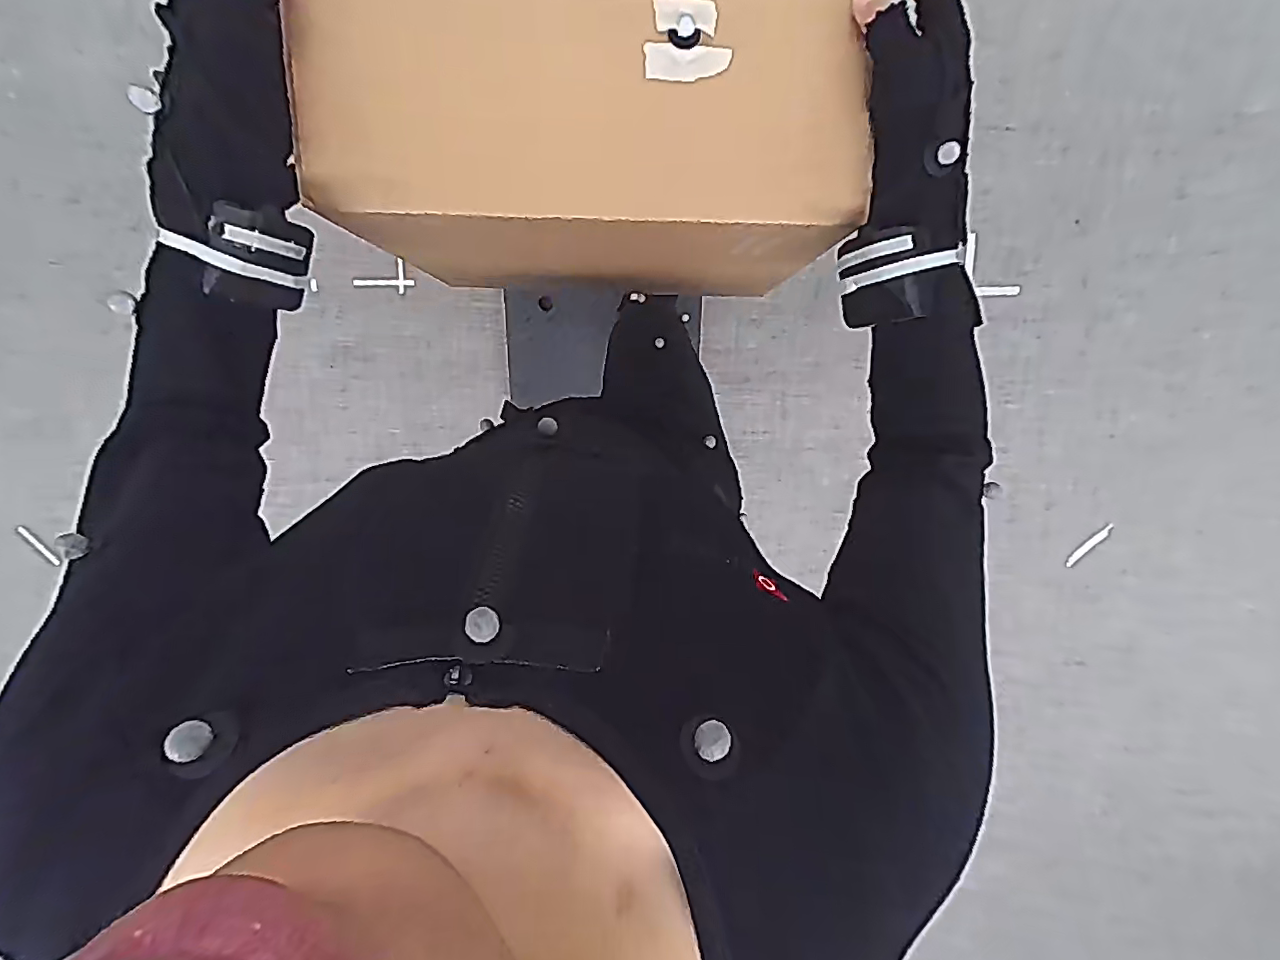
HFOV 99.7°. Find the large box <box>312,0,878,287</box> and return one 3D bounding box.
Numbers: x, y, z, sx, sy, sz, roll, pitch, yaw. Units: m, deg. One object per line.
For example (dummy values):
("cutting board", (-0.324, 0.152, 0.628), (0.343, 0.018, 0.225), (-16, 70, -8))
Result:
("large box", (-0.033, -0.377, 0.523), (0.408, 0.320, 0.320), (1, 100, -2))

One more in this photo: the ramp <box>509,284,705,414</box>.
("ramp", (-0.077, -0.645, 1.280), (0.509, 0.206, 0.991), (-1, 100, -2))
